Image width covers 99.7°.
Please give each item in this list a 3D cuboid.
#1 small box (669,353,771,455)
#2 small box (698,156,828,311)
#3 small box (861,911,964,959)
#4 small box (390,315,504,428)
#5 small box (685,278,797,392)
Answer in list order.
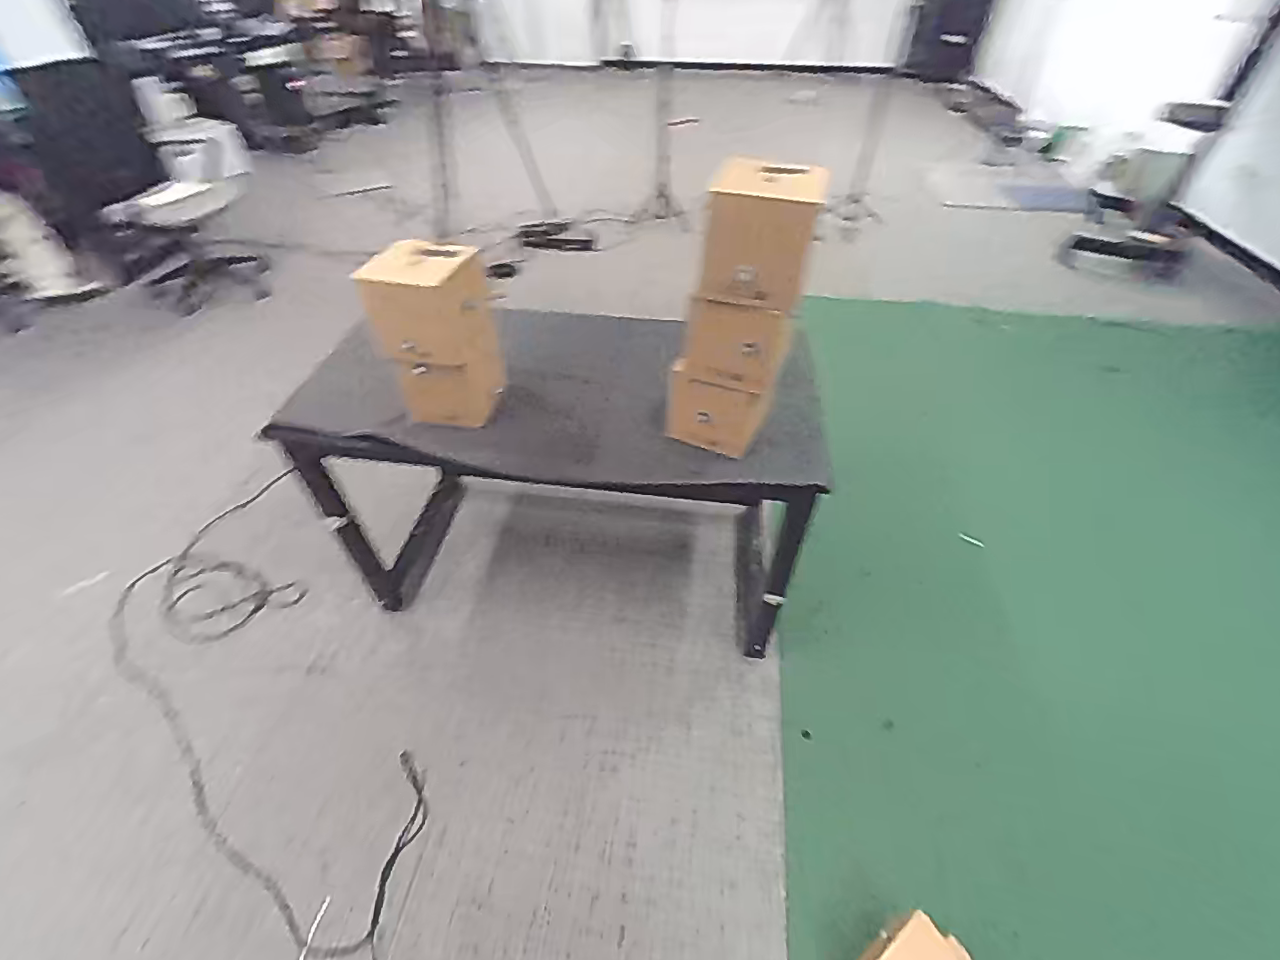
[{"bbox_3d":[0.169,-0.179,1.112,0.168,0.176,0.179,21,47,20],"label":"small box"},{"bbox_3d":[0.193,-0.397,0.869,0.168,0.176,0.179,13,46,12],"label":"small box"},{"bbox_3d":[0.520,0.966,1.014,0.179,0.176,0.168,-27,51,-24],"label":"small box"},{"bbox_3d":[-0.407,-0.237,1.179,0.168,0.176,0.179,6,45,6],"label":"small box"},{"bbox_3d":[0.186,-0.285,0.990,0.168,0.176,0.179,18,46,16],"label":"small box"}]
